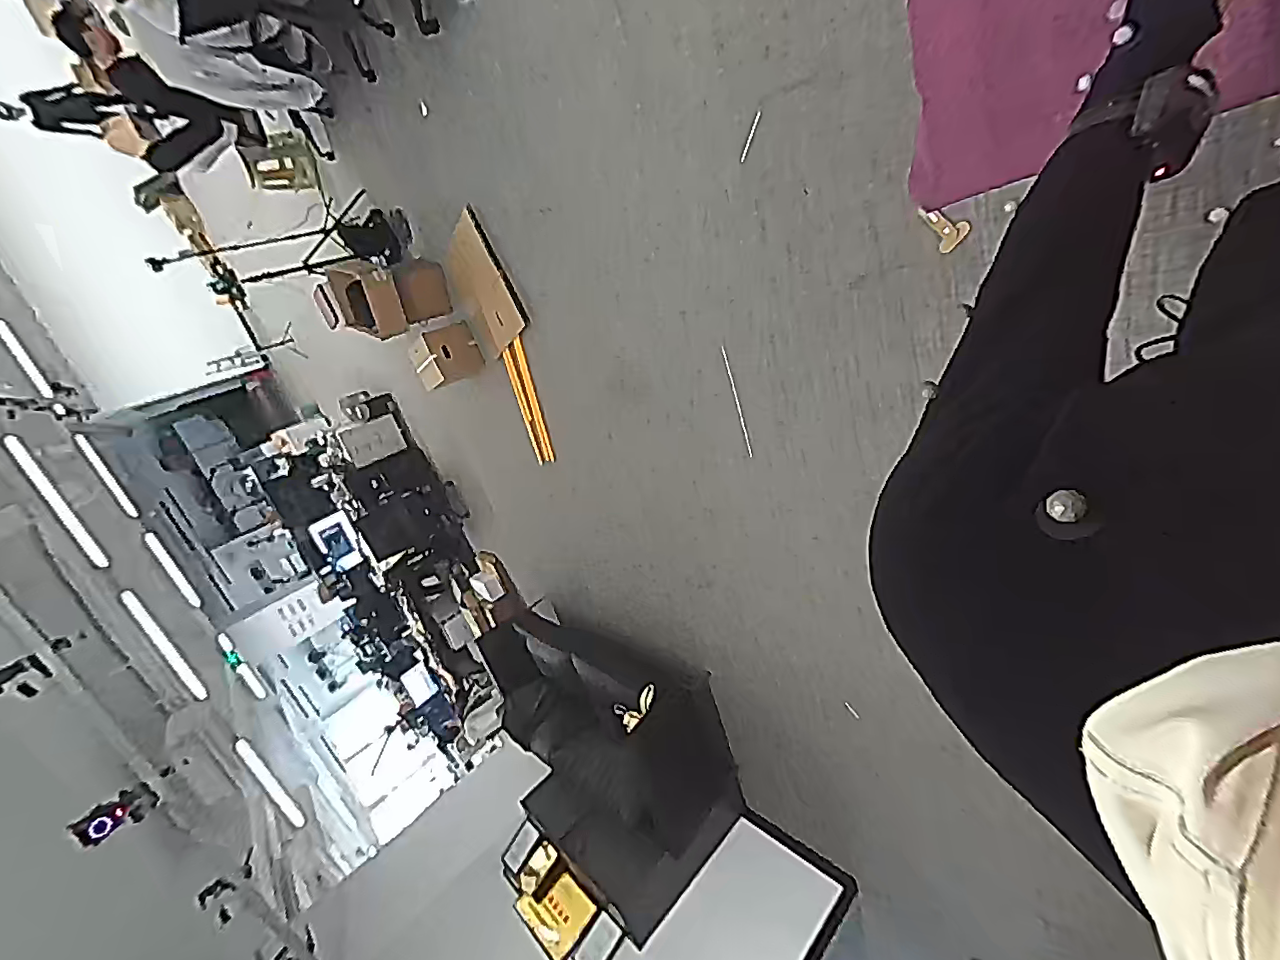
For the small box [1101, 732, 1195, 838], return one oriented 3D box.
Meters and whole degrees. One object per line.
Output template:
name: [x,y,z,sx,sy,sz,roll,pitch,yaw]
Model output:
small box: [1.476,0.874,1.570,0.179,0.176,0.168,11,125,49]
